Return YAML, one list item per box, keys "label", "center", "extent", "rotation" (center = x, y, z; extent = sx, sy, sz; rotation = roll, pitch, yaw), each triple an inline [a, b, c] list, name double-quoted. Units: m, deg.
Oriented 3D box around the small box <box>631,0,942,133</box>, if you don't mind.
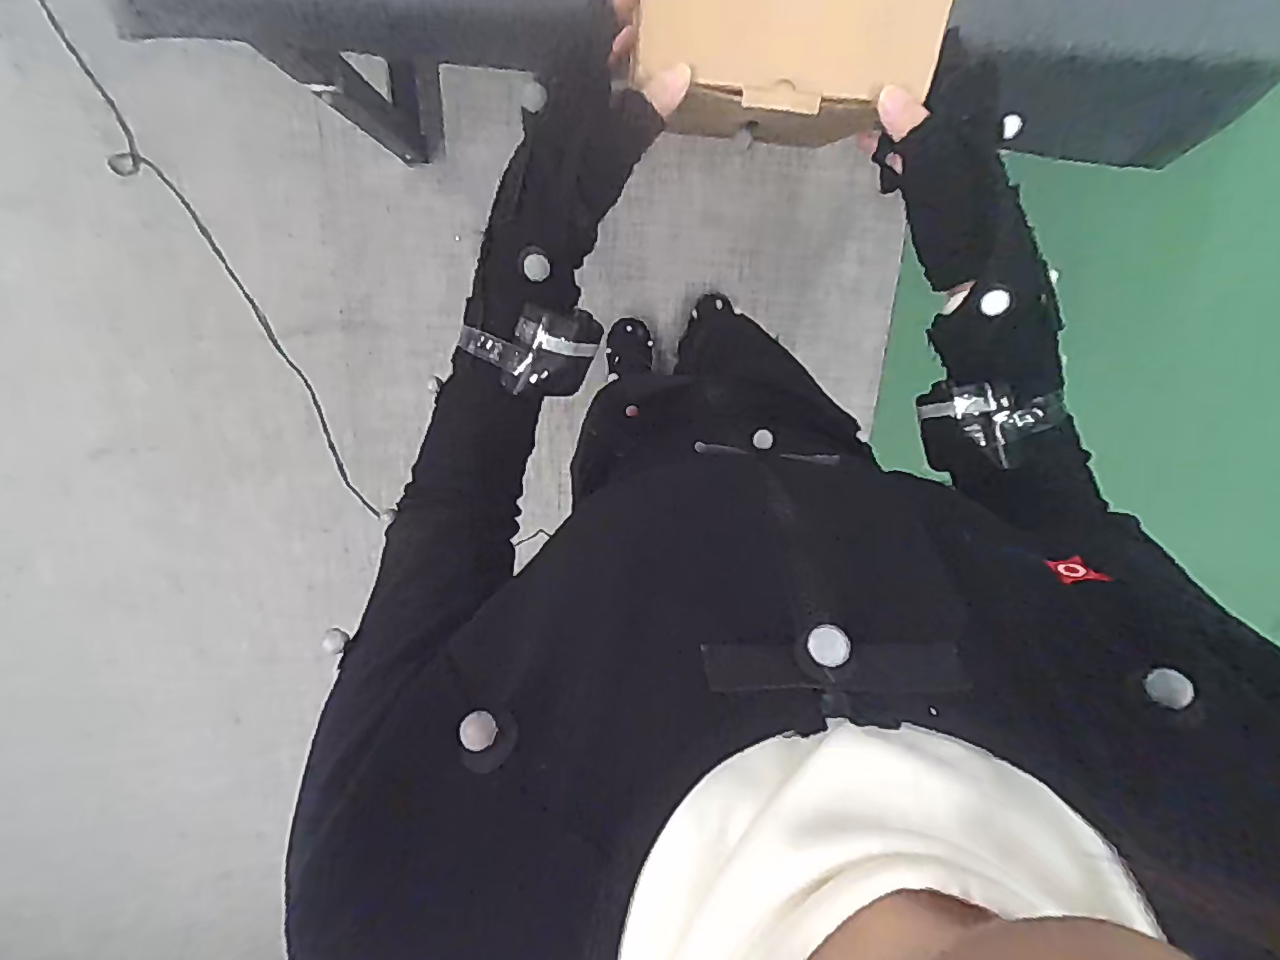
- label: "small box"
  center: [0.081, -0.330, 0.338]
  extent: [0.168, 0.176, 0.179]
  rotation: [2, 116, -3]
